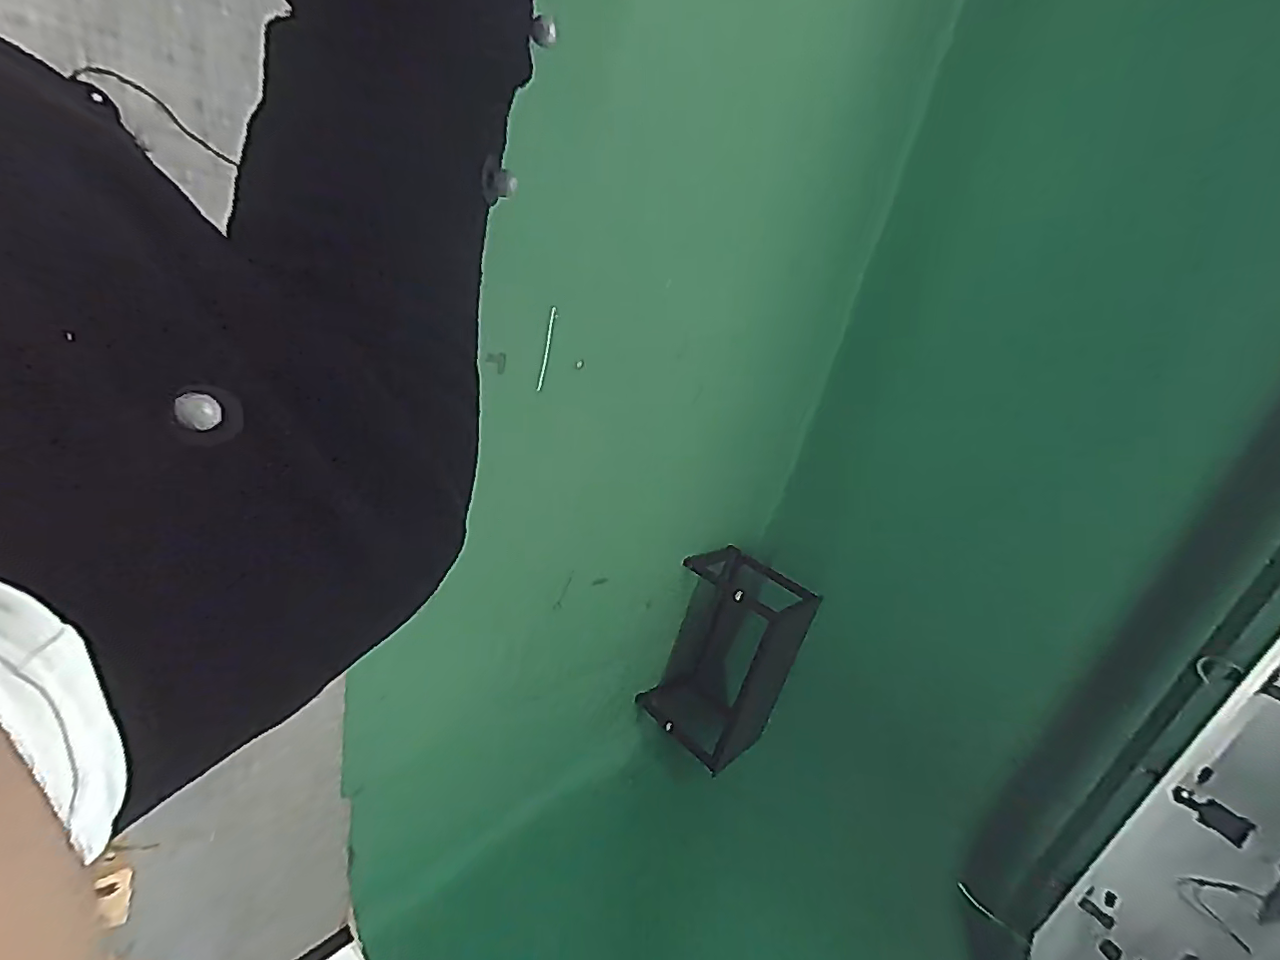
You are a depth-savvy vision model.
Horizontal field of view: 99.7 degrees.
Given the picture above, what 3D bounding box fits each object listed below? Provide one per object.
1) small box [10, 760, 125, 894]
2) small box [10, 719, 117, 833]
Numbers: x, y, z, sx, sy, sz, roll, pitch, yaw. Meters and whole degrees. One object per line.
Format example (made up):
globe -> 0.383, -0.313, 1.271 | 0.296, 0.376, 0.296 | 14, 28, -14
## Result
small box -> -1.371, 0.818, 1.293 | 0.179, 0.176, 0.168 | 1, 114, -51
small box -> -1.488, 0.755, 1.394 | 0.179, 0.176, 0.168 | 2, 114, -51
